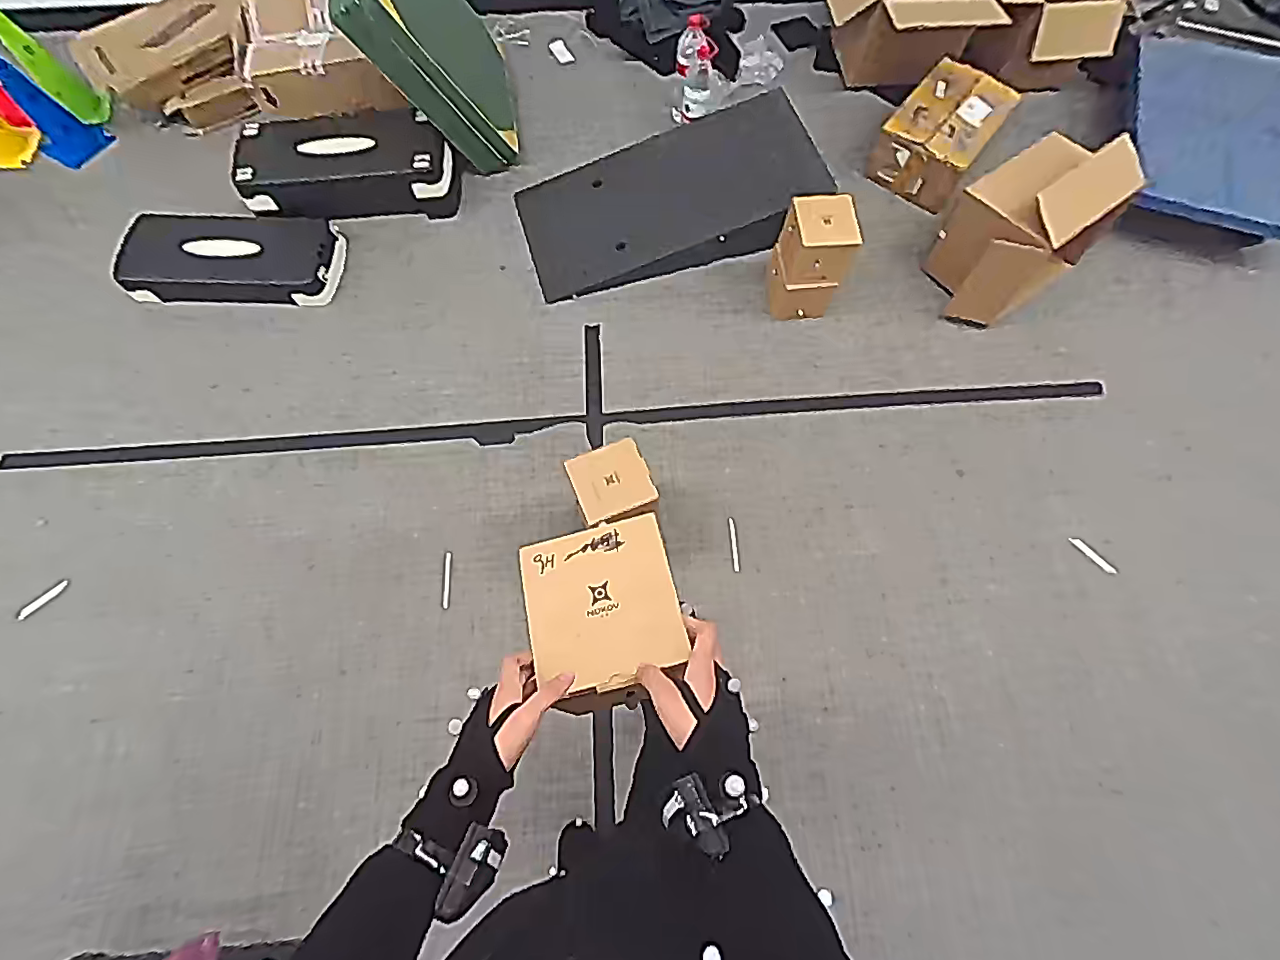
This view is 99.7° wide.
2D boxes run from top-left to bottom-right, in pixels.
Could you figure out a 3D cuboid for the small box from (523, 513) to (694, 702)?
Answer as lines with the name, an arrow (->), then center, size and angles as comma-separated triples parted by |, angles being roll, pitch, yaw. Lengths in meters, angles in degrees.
small box -> -0.032, 0.166, 0.668 | 0.168, 0.176, 0.179 | -14, 62, 0
